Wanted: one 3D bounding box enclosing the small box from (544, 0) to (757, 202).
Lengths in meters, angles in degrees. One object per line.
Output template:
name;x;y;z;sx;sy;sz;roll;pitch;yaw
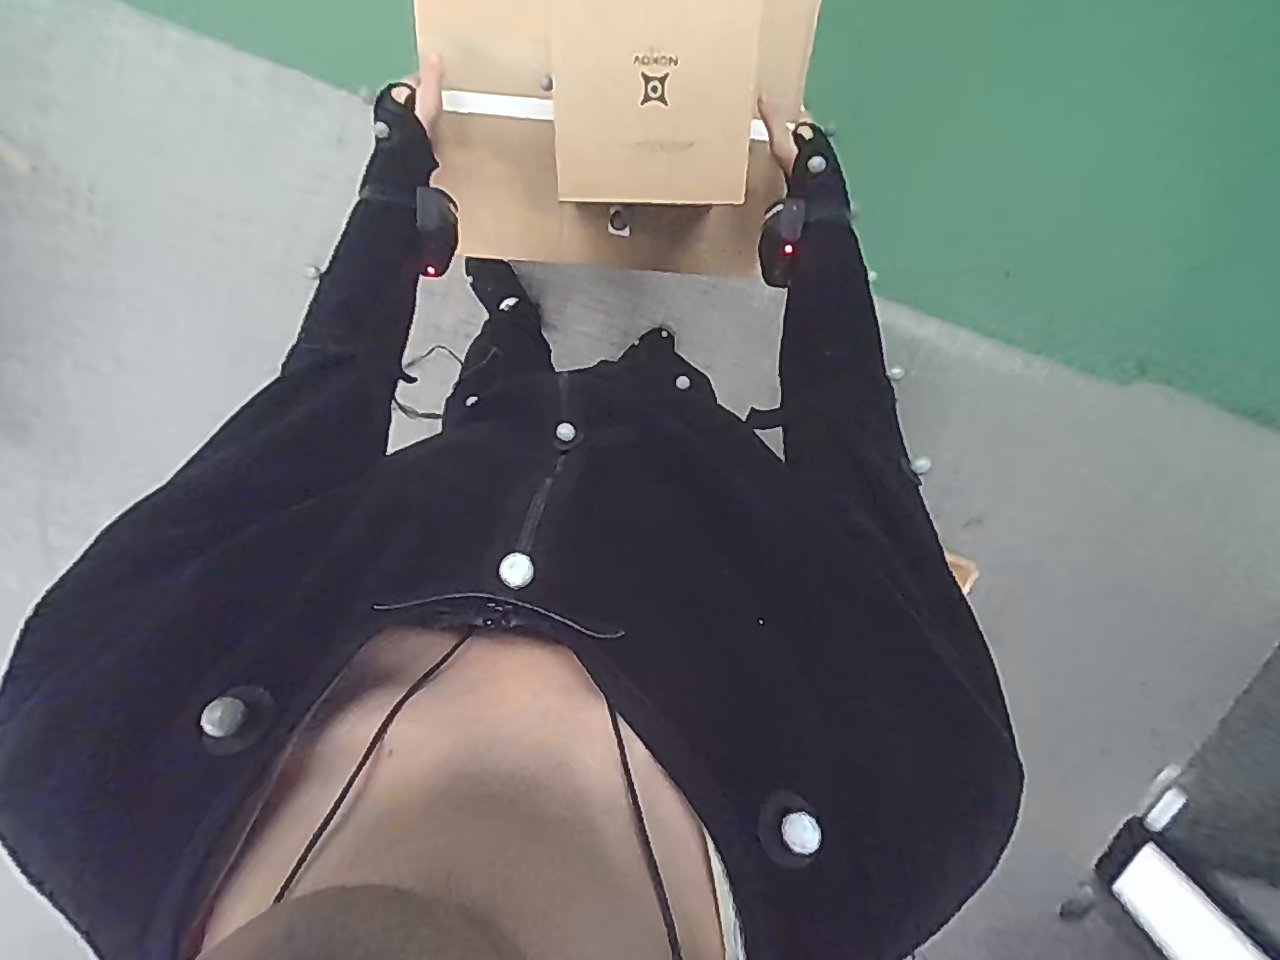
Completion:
small box;0.003;-0.360;0.502;0.168;0.176;0.179;-1;117;-2
